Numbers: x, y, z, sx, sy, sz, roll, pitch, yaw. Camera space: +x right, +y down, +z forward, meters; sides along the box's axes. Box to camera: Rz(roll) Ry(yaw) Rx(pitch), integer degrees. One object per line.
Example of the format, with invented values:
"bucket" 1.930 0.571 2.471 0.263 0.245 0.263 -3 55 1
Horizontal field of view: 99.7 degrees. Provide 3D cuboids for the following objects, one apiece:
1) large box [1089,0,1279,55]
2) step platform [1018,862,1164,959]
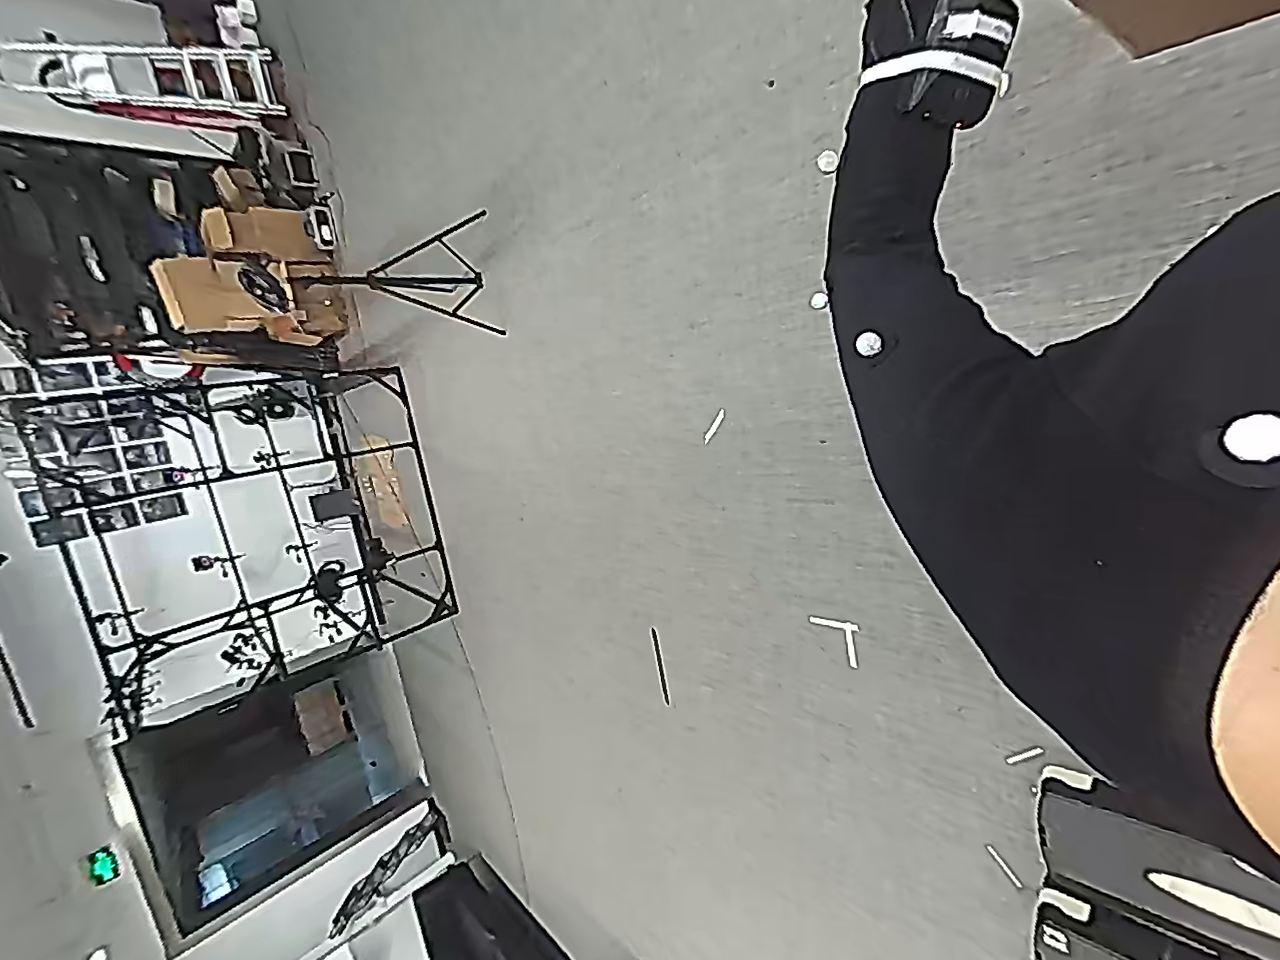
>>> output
"large box" 0.482 -0.485 0.249 0.408 0.320 0.320 10 117 46
"step platform" 1.256 1.185 1.198 0.684 0.204 0.286 -2 102 50
